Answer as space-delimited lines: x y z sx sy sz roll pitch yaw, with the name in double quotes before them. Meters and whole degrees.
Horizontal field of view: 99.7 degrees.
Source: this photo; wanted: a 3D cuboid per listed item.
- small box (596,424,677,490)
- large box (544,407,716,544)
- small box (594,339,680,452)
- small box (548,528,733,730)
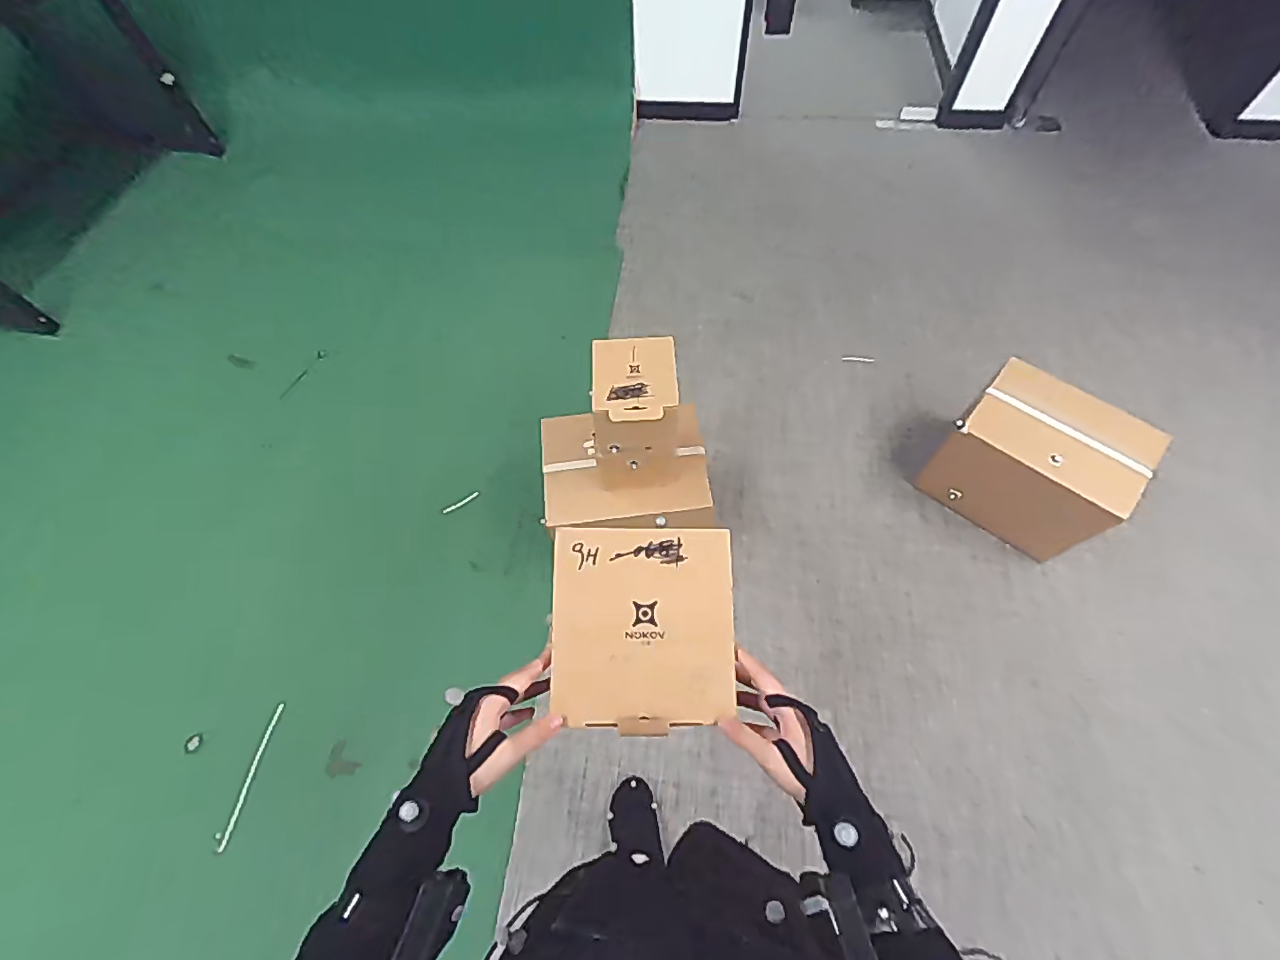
"small box" -0.008 -0.084 1.263 0.179 0.176 0.168 -4 63 0
"large box" -0.027 0.037 1.477 0.408 0.320 0.320 -8 60 -1
"small box" -0.003 -0.166 1.120 0.168 0.176 0.179 -3 62 1
"small box" -0.001 0.147 0.564 0.168 0.176 0.179 1 78 -4
